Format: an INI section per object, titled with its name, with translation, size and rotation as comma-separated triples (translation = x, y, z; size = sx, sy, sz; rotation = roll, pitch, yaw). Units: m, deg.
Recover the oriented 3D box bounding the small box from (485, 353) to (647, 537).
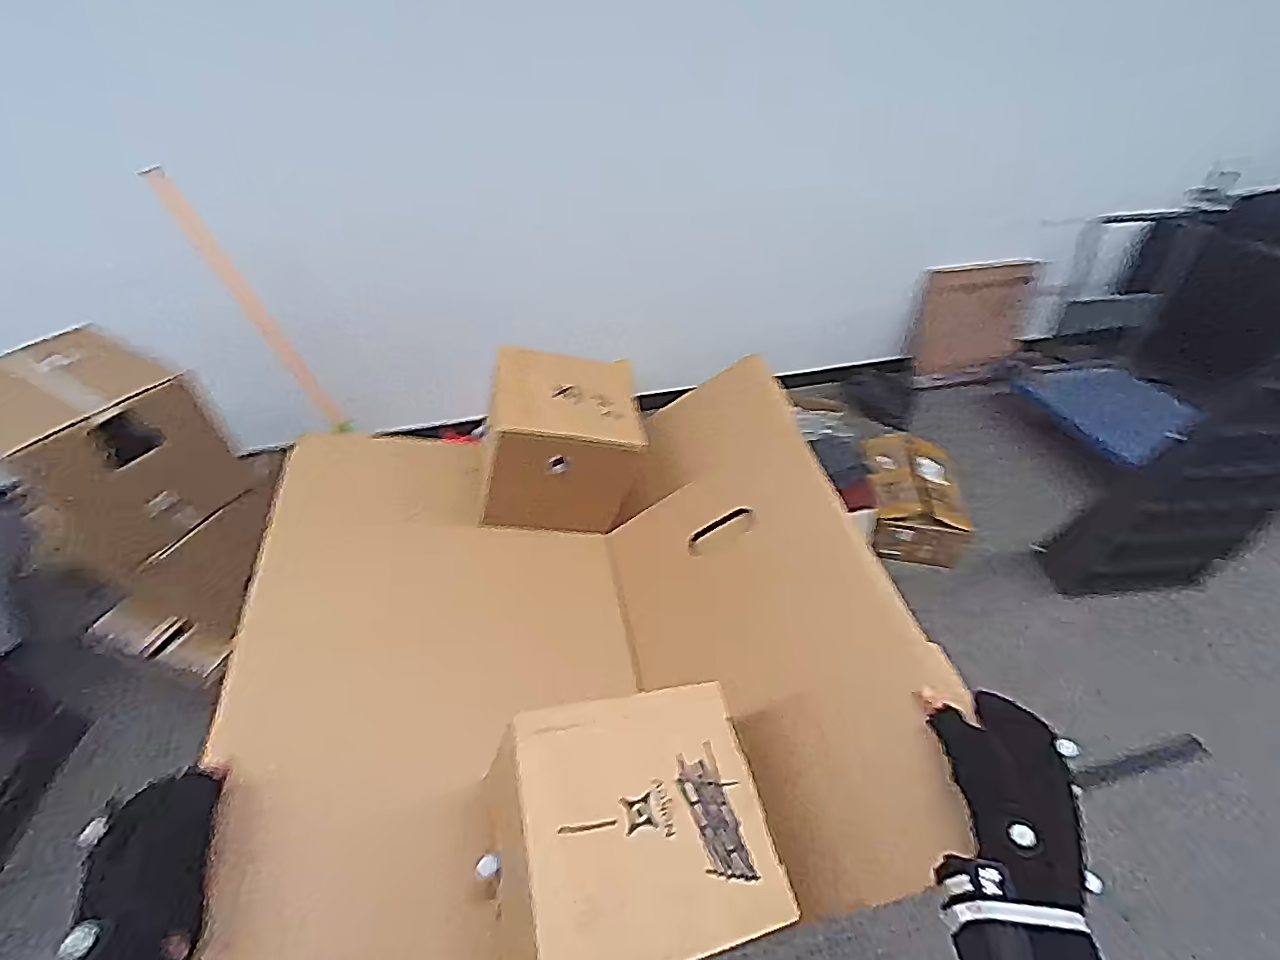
[small box]
translation = -0.108, -0.040, 0.719
size = 0.179, 0.176, 0.168
rotation = 7, 45, -20
